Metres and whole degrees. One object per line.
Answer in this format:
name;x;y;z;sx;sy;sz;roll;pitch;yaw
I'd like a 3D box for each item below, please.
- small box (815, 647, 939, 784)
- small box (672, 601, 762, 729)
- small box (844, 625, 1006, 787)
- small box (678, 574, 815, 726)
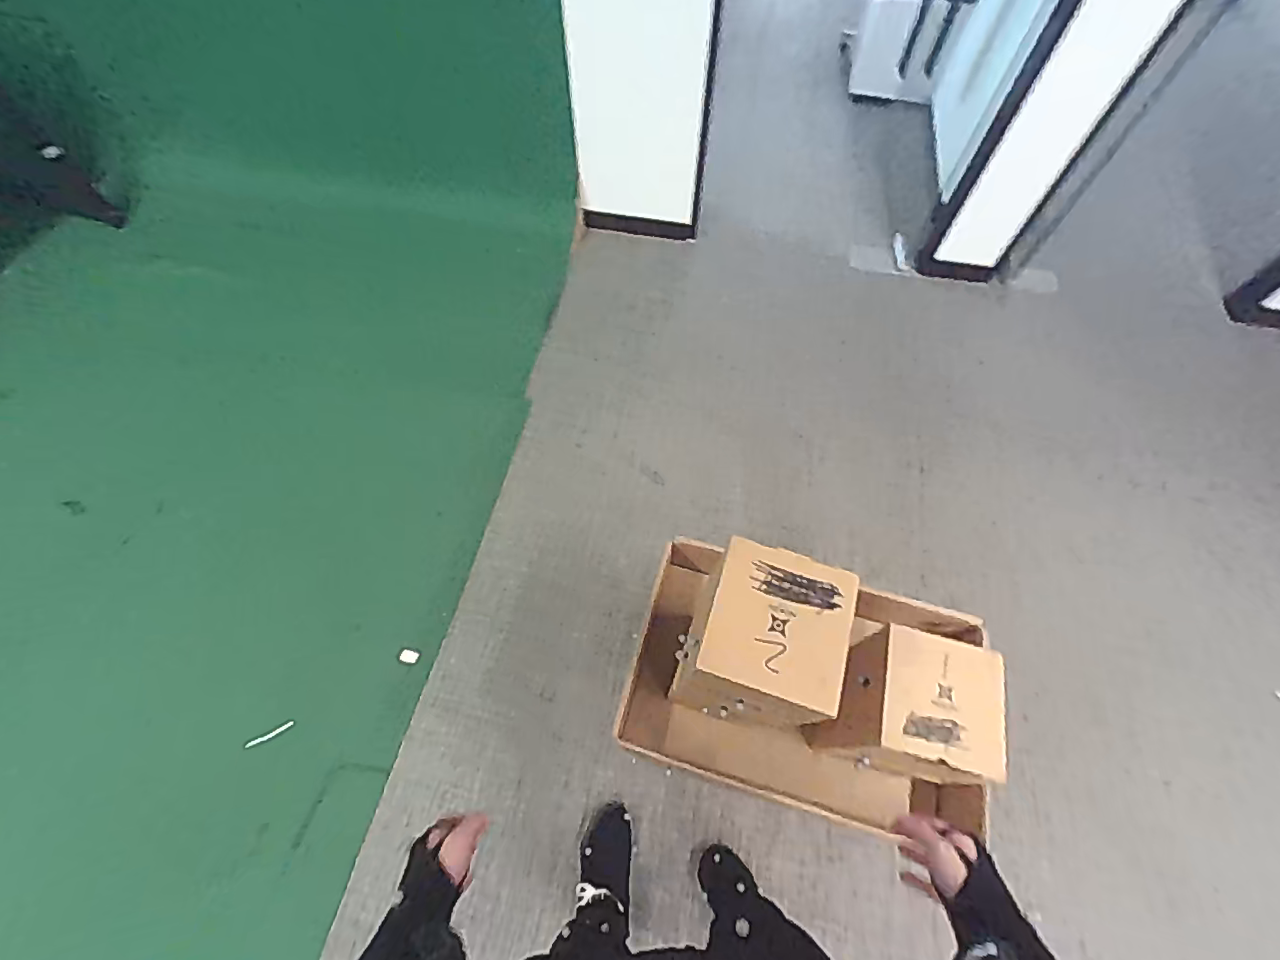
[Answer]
small box;0.426;0.425;0.975;0.168;0.176;0.179;16;63;8
small box;0.161;0.346;1.013;0.168;0.176;0.179;17;63;10
small box;0.427;0.348;0.830;0.168;0.176;0.179;15;63;8
small box;0.162;0.278;0.864;0.168;0.176;0.179;17;64;8
